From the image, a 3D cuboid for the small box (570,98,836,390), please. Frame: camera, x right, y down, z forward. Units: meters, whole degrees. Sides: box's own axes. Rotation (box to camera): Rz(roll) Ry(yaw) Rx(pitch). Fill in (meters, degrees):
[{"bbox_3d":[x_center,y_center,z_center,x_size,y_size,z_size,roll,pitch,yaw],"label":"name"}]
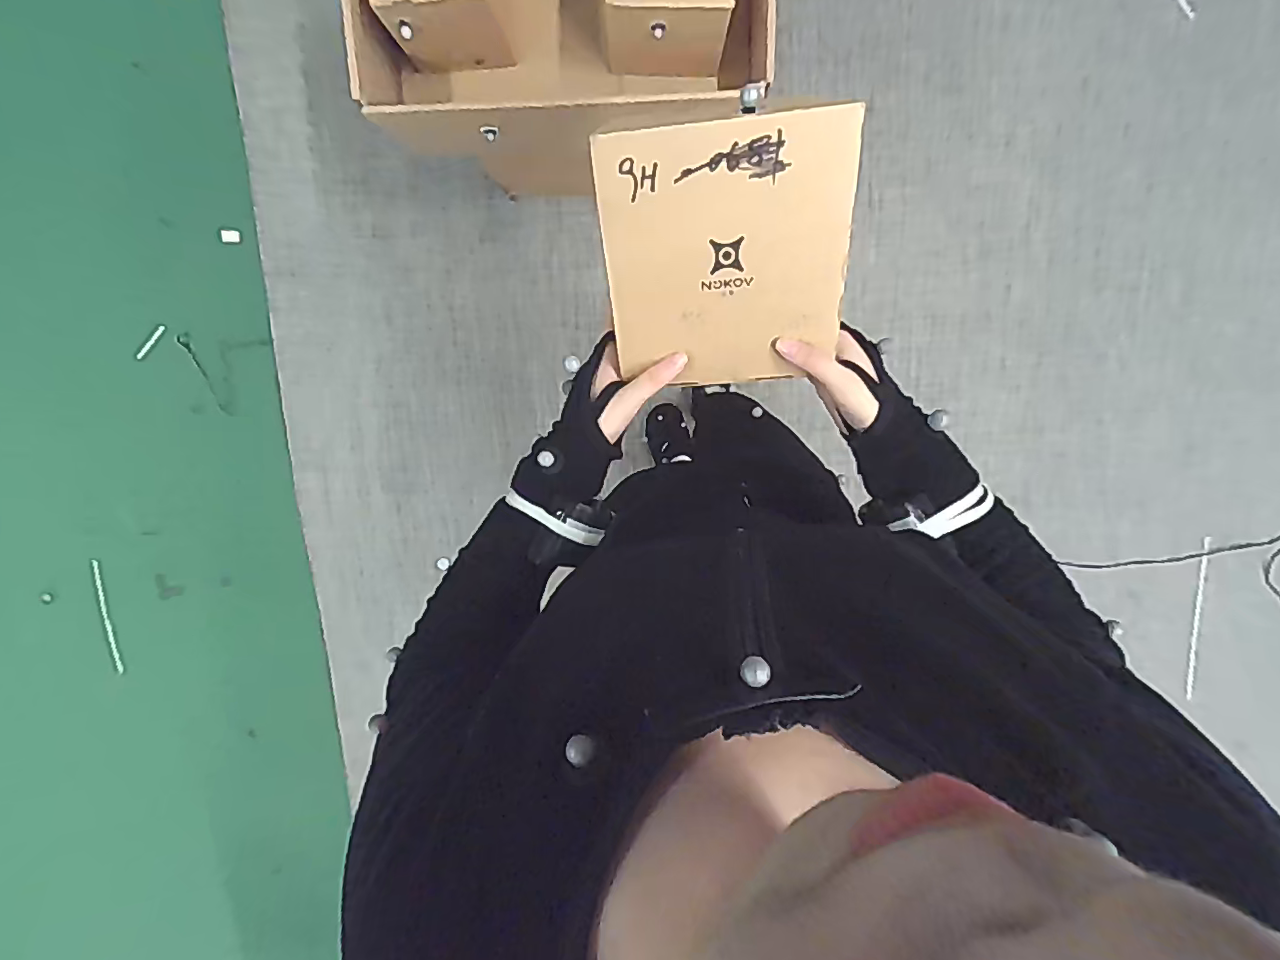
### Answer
[{"bbox_3d":[0.051,-0.195,0.442,0.168,0.176,0.179,-5,125,7],"label":"small box"}]
